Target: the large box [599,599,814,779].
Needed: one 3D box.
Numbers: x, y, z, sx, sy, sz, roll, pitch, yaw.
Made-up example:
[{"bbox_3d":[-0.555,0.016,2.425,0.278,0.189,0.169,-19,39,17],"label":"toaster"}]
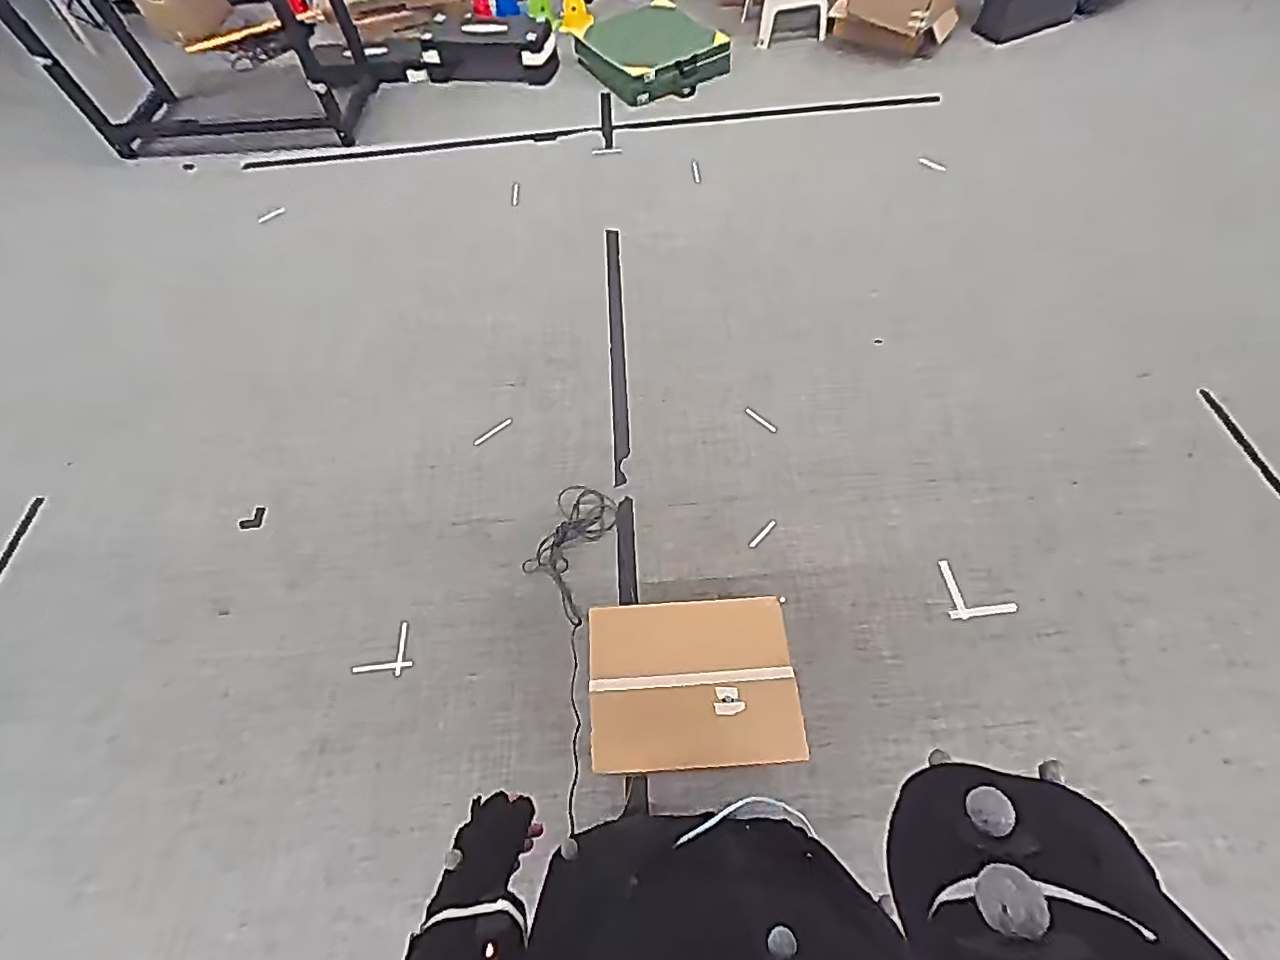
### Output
[{"bbox_3d":[0.121,0.473,1.202,0.408,0.320,0.320,-3,61,0],"label":"large box"}]
